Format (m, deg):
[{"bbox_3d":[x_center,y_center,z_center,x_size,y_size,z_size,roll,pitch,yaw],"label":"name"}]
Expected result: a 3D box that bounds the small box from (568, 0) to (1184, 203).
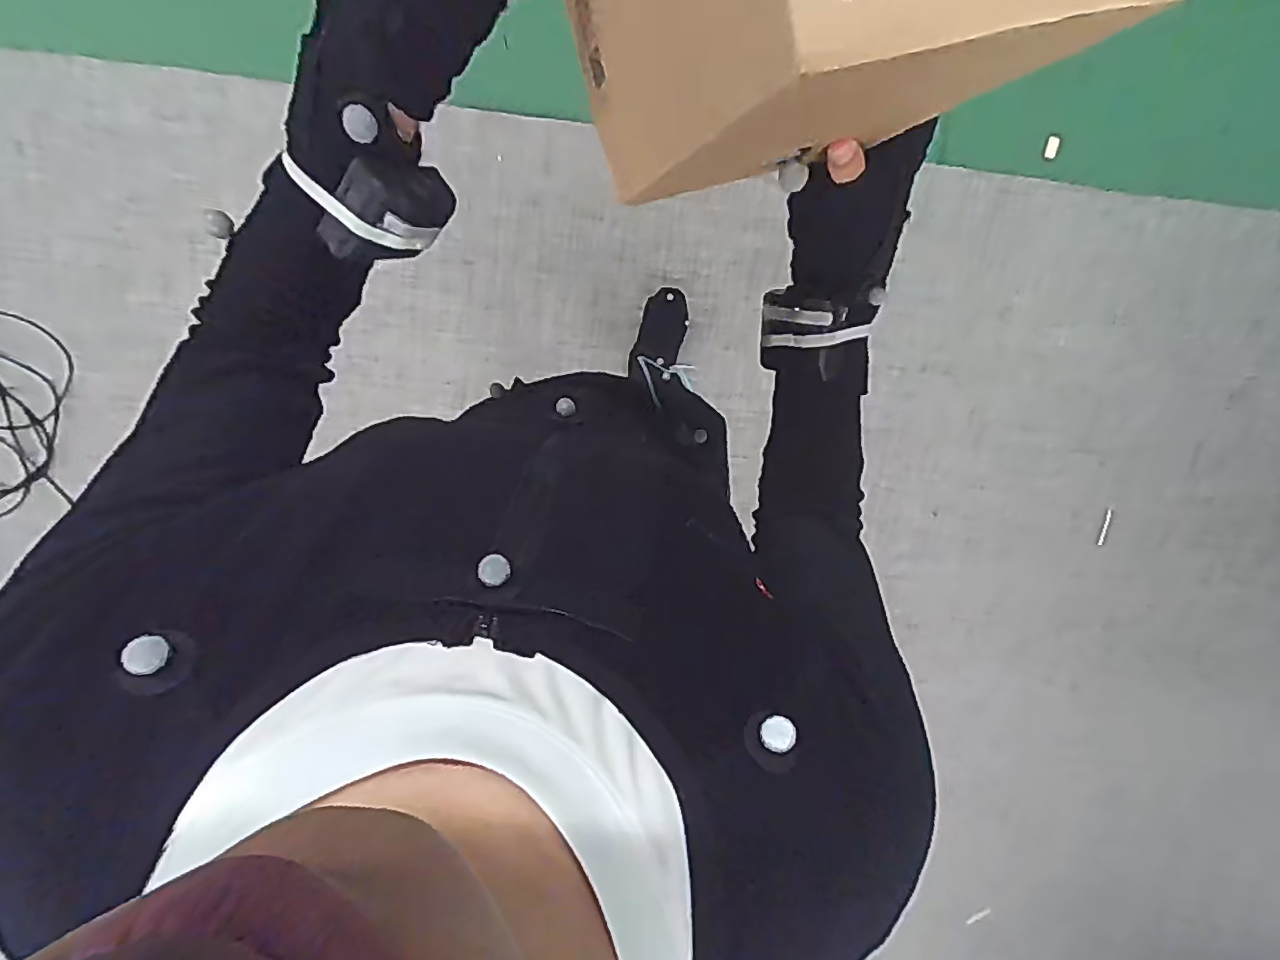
[{"bbox_3d":[0.076,-0.235,0.223,0.179,0.176,0.168,-22,110,-16],"label":"small box"}]
